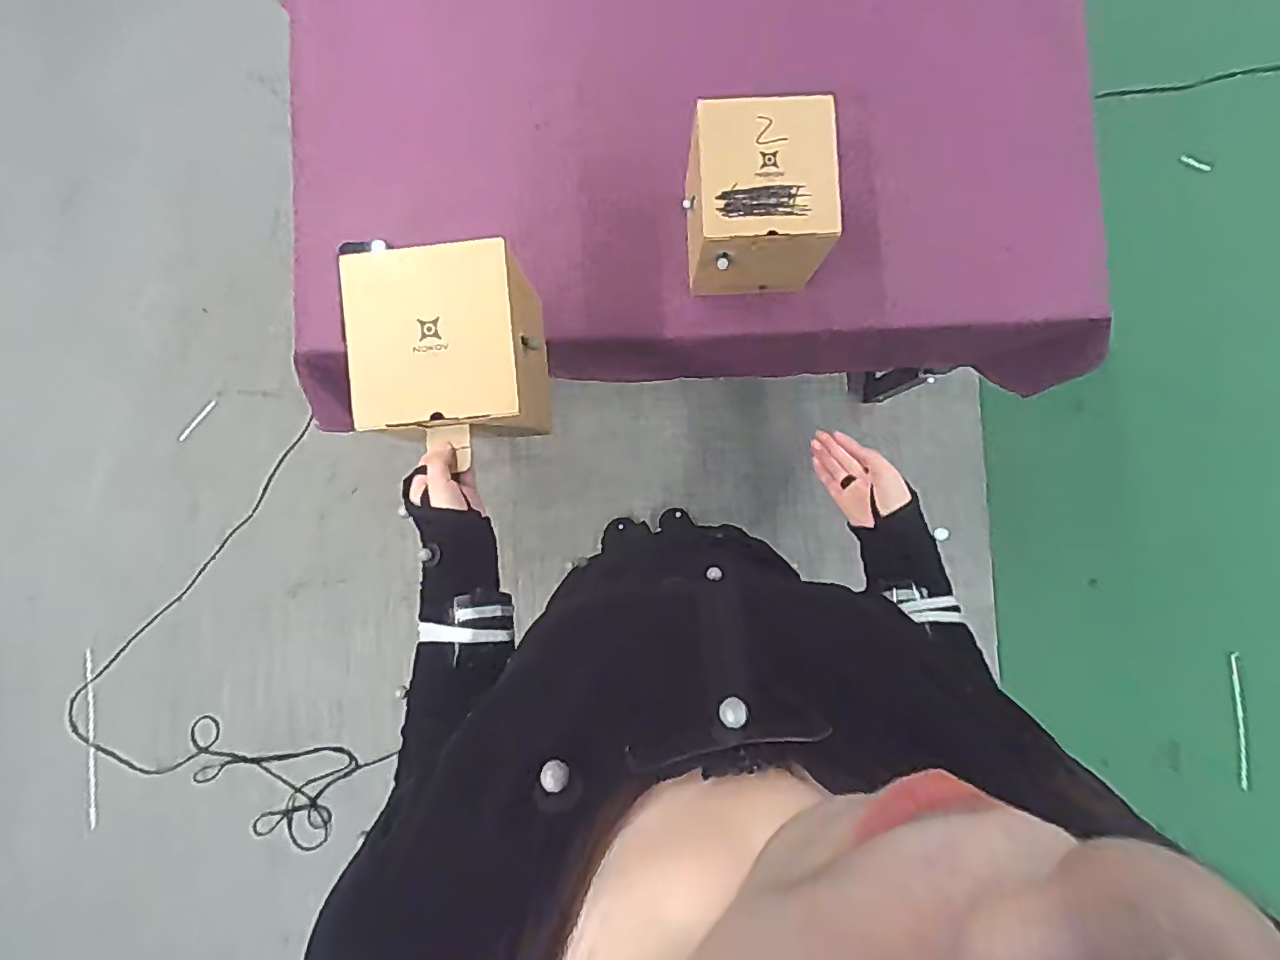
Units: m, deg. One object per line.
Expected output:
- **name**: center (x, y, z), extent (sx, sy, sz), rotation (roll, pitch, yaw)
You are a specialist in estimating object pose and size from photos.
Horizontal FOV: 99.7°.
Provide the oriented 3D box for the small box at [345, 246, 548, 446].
- **small box**: center (-0.205, -0.138, 0.615), extent (0.168, 0.176, 0.179), rotation (-5, 89, 1)
